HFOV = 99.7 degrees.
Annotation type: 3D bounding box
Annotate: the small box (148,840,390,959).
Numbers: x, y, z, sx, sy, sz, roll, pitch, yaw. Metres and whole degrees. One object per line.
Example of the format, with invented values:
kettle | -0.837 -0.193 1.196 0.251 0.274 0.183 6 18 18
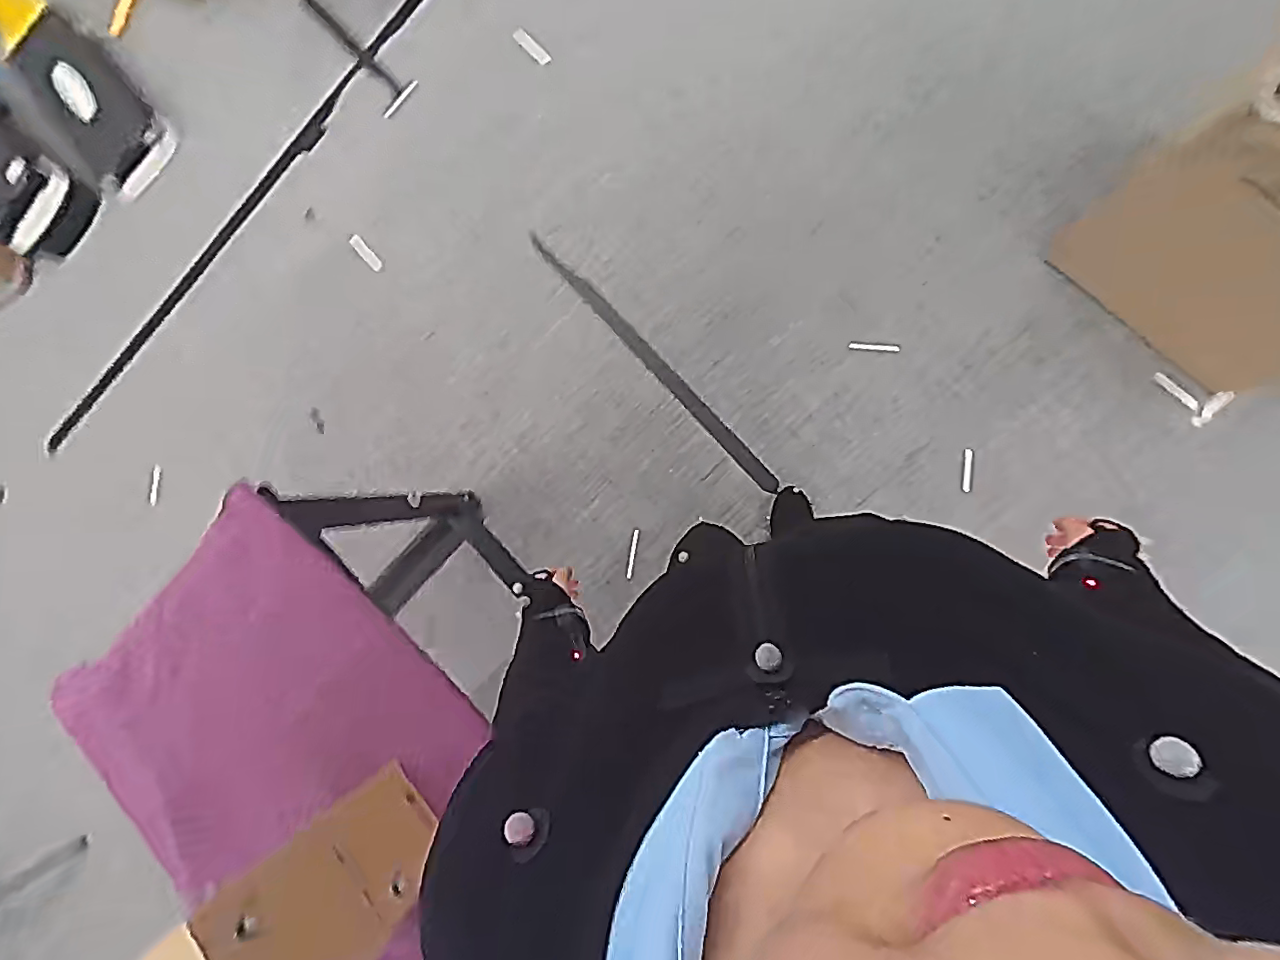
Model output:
small box | -0.434 0.558 0.615 0.168 0.176 0.179 -42 82 8
